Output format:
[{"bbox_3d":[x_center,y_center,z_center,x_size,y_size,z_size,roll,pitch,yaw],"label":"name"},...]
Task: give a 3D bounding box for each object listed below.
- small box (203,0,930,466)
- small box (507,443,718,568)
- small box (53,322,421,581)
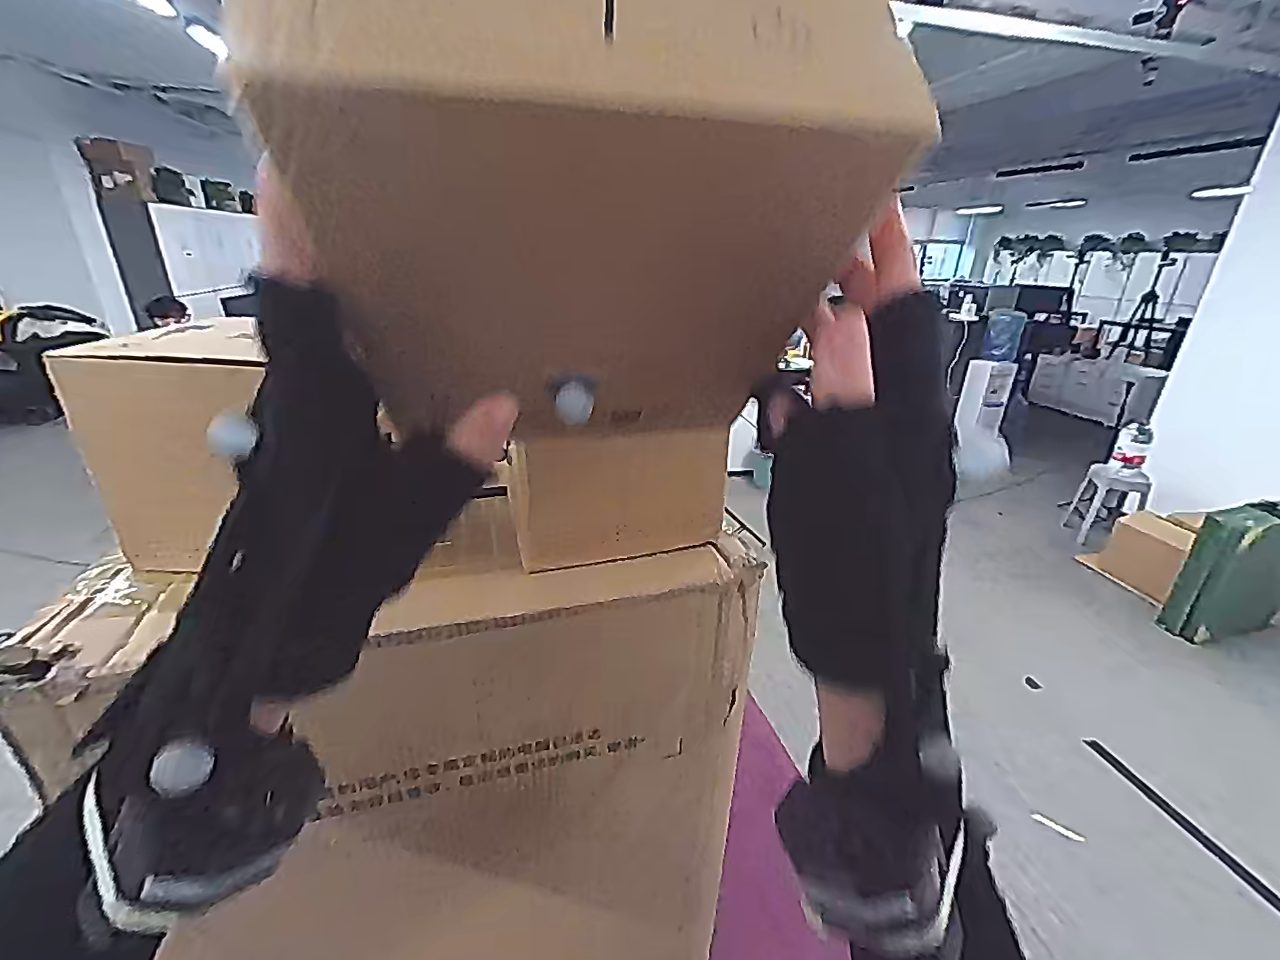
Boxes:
[{"bbox_3d":[-0.030,-0.120,0.223,0.168,0.179,0.176,-4,-20,-13],"label":"small box"},{"bbox_3d":[-0.034,-0.035,0.497,0.179,0.176,0.168,-7,25,-16],"label":"small box"},{"bbox_3d":[-0.301,-0.029,0.457,0.179,0.176,0.168,3,24,-3],"label":"small box"}]
